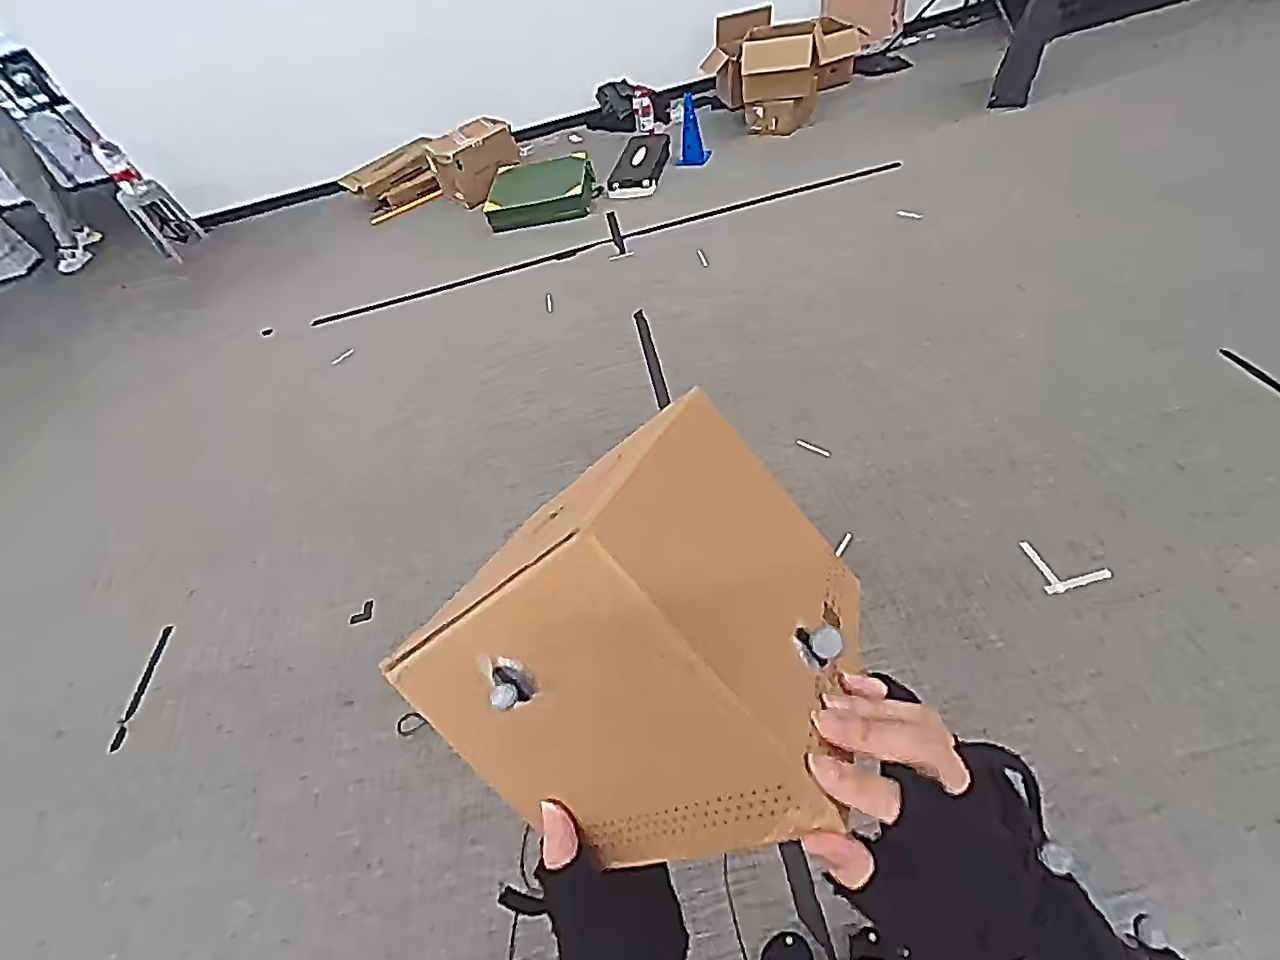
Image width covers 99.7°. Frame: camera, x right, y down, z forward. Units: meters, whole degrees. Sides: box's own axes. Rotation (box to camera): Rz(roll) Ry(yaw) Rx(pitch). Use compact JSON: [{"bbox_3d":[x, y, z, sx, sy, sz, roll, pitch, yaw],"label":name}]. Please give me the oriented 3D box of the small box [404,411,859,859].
[{"bbox_3d":[0.005,0.095,0.330,0.179,0.176,0.168,-36,9,33],"label":"small box"}]
